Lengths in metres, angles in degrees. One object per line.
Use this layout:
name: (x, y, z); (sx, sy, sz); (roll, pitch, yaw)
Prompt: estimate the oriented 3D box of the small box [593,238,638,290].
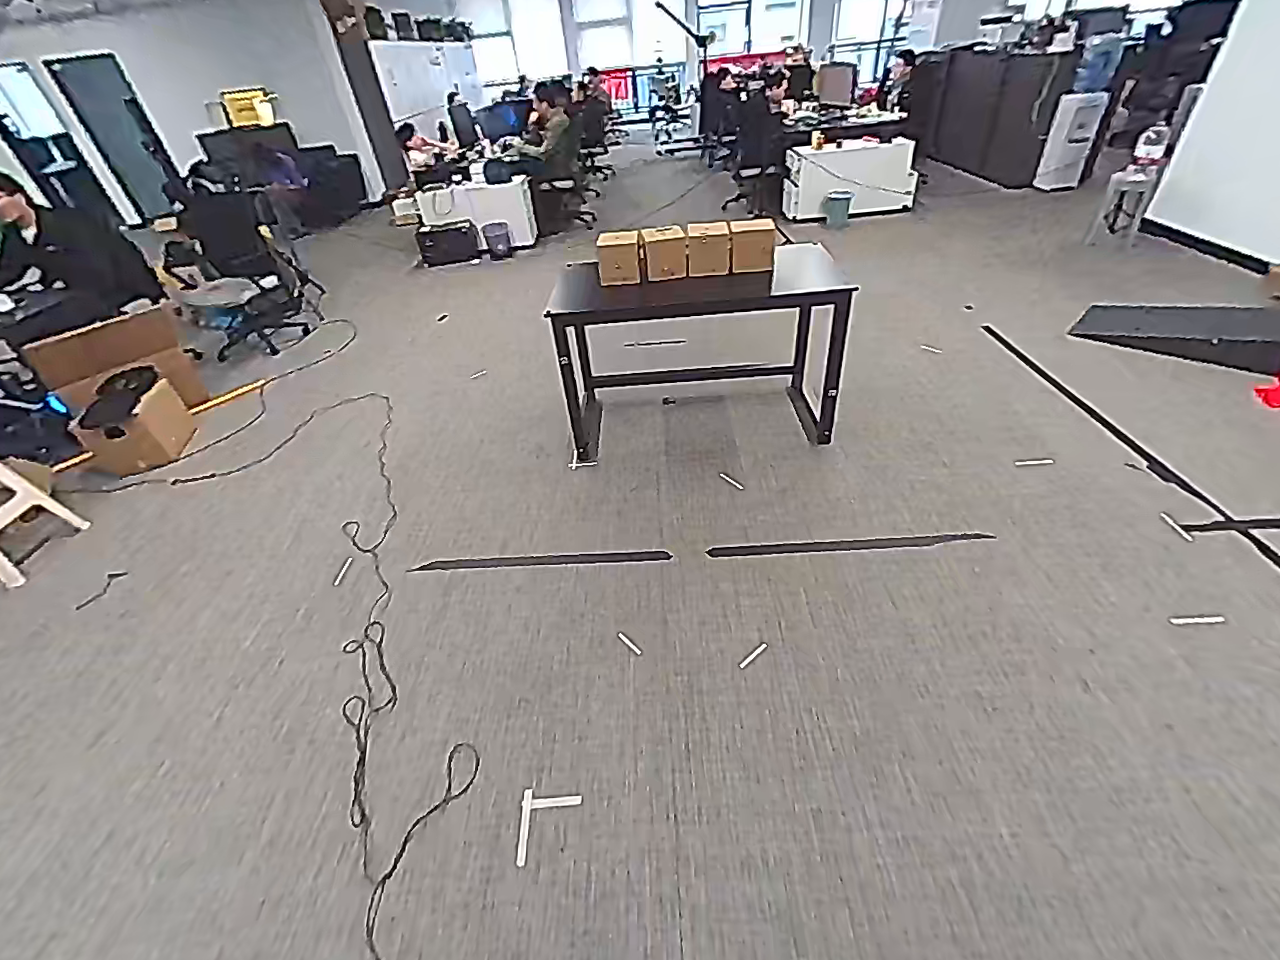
small box: (-0.102, -0.926, 2.327); (0.168, 0.176, 0.179); (-2, 38, 5)
